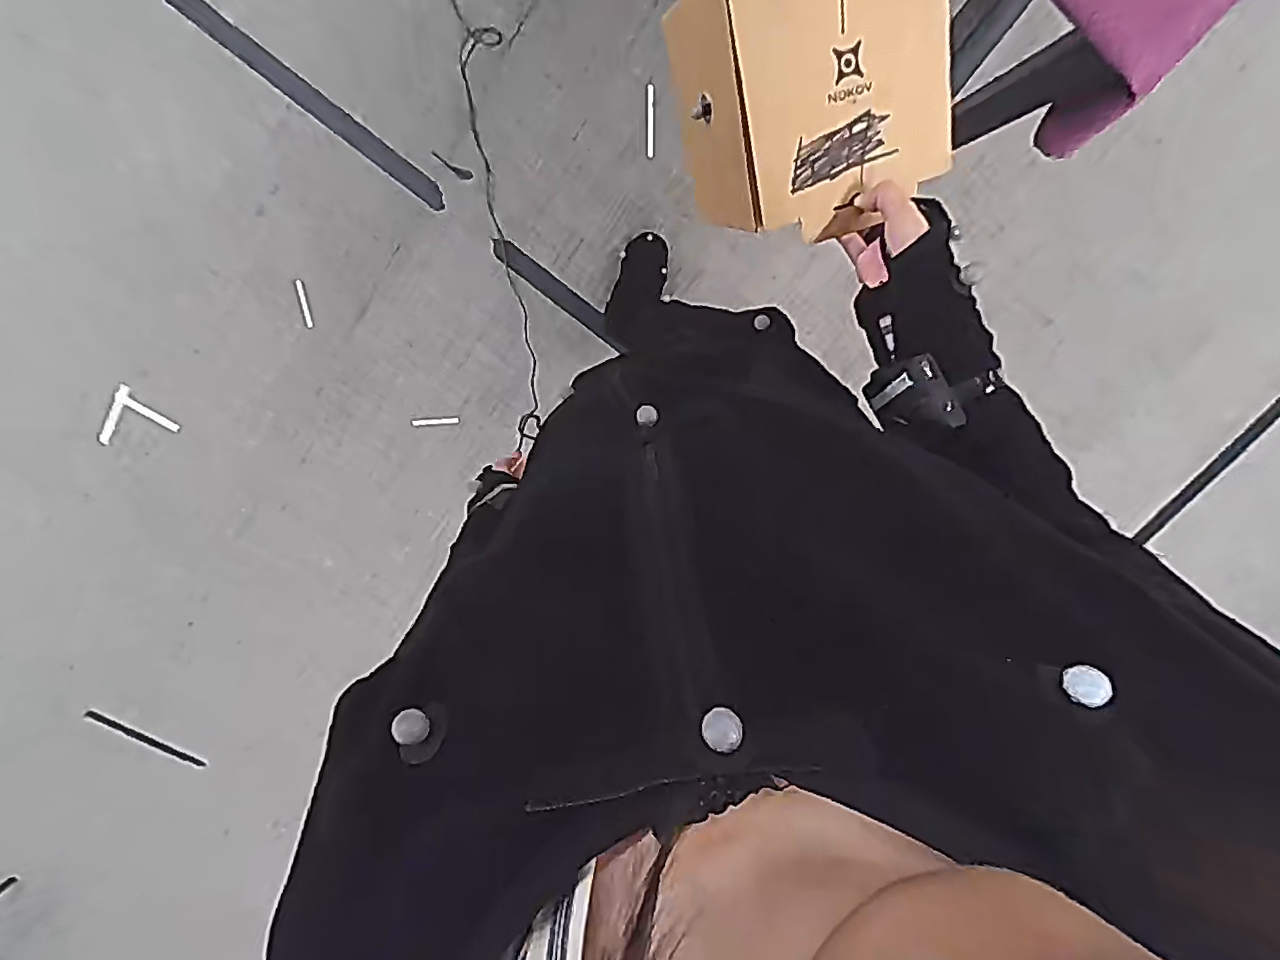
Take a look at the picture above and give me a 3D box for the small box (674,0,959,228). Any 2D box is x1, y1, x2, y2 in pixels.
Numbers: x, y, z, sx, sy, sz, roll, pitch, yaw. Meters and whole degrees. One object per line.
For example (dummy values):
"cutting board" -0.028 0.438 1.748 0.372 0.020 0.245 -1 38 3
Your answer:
"small box" 0.141 -0.338 0.468 0.168 0.176 0.179 -19 121 -4
